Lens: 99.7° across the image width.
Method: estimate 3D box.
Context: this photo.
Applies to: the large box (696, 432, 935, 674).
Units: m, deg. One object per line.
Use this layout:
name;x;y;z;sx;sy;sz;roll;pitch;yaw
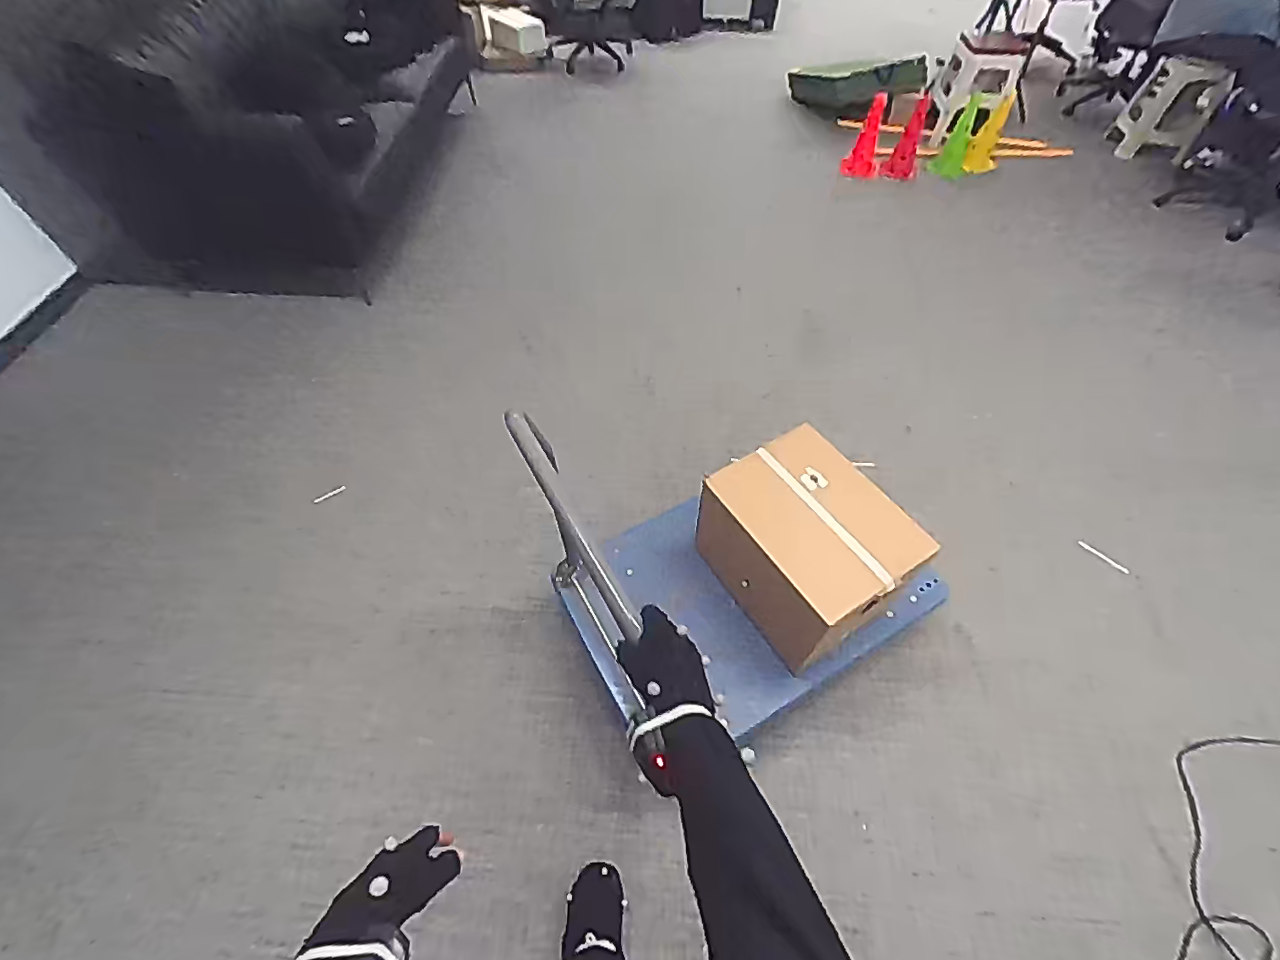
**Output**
large box;0.377;0.170;1.278;0.320;0.320;0.408;-26;57;-19
